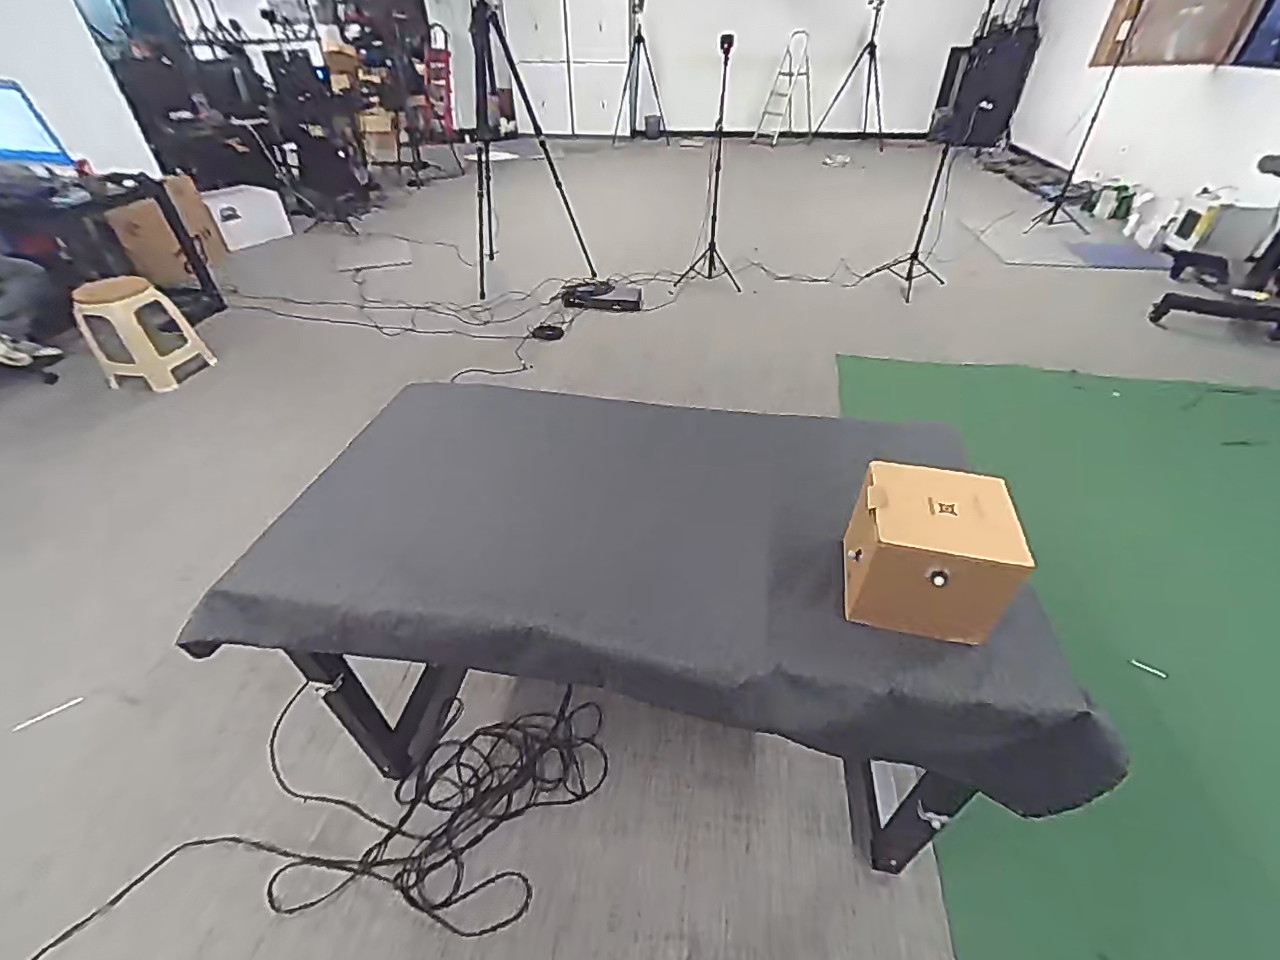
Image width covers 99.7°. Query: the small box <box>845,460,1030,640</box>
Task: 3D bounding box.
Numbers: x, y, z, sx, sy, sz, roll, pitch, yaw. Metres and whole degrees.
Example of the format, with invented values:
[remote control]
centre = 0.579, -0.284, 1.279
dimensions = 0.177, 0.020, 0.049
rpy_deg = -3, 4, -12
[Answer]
[small box]
centre = 0.388, 0.097, 0.749
dimensions = 0.179, 0.176, 0.168
rpy_deg = 9, 42, 11
